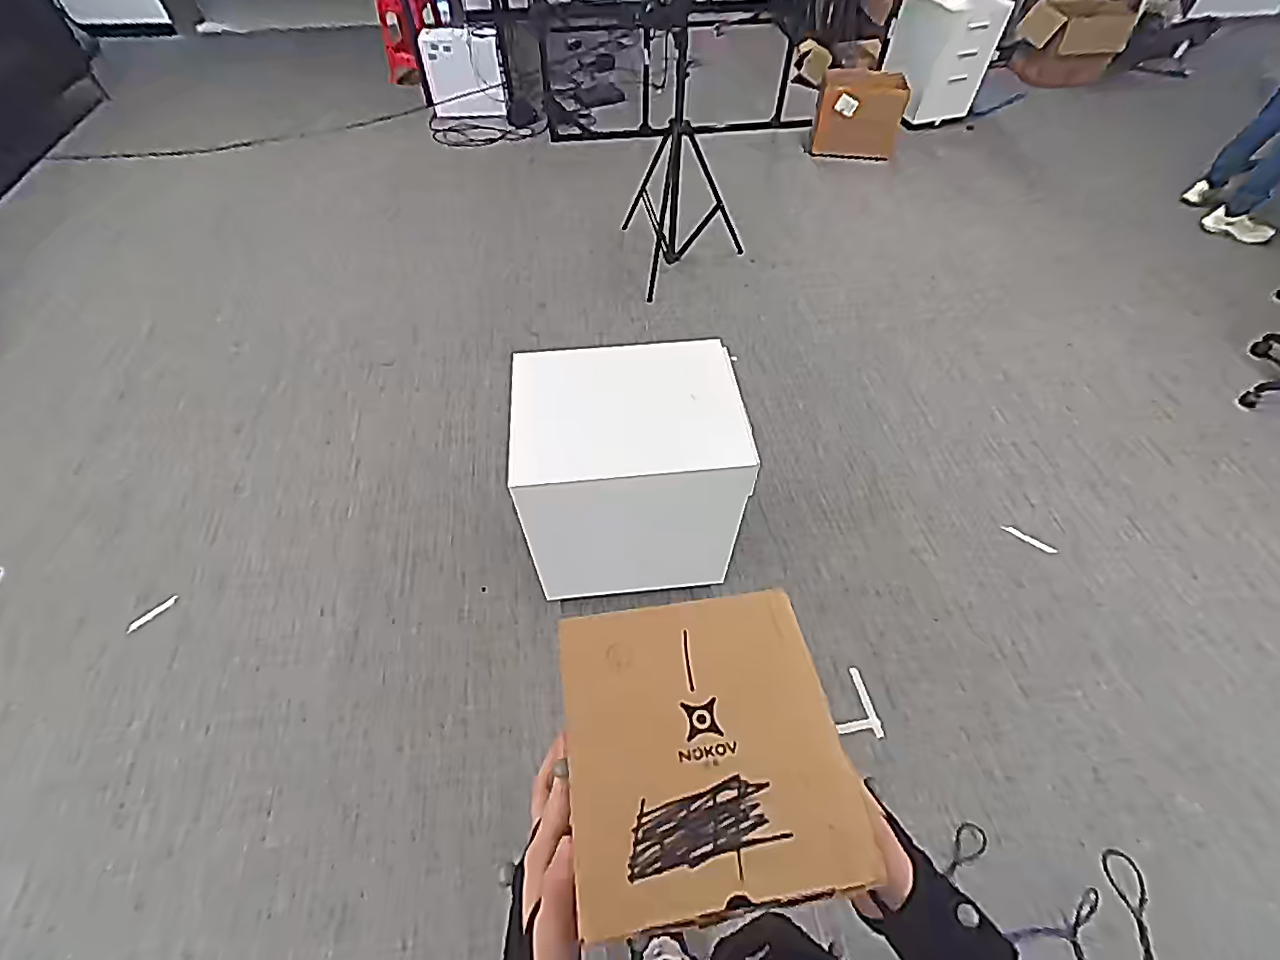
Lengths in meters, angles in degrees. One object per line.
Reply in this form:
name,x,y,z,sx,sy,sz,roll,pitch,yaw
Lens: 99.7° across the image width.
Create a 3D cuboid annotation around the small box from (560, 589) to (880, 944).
small box,0.036,0.204,0.392,0.168,0.176,0.179,-6,52,-7
